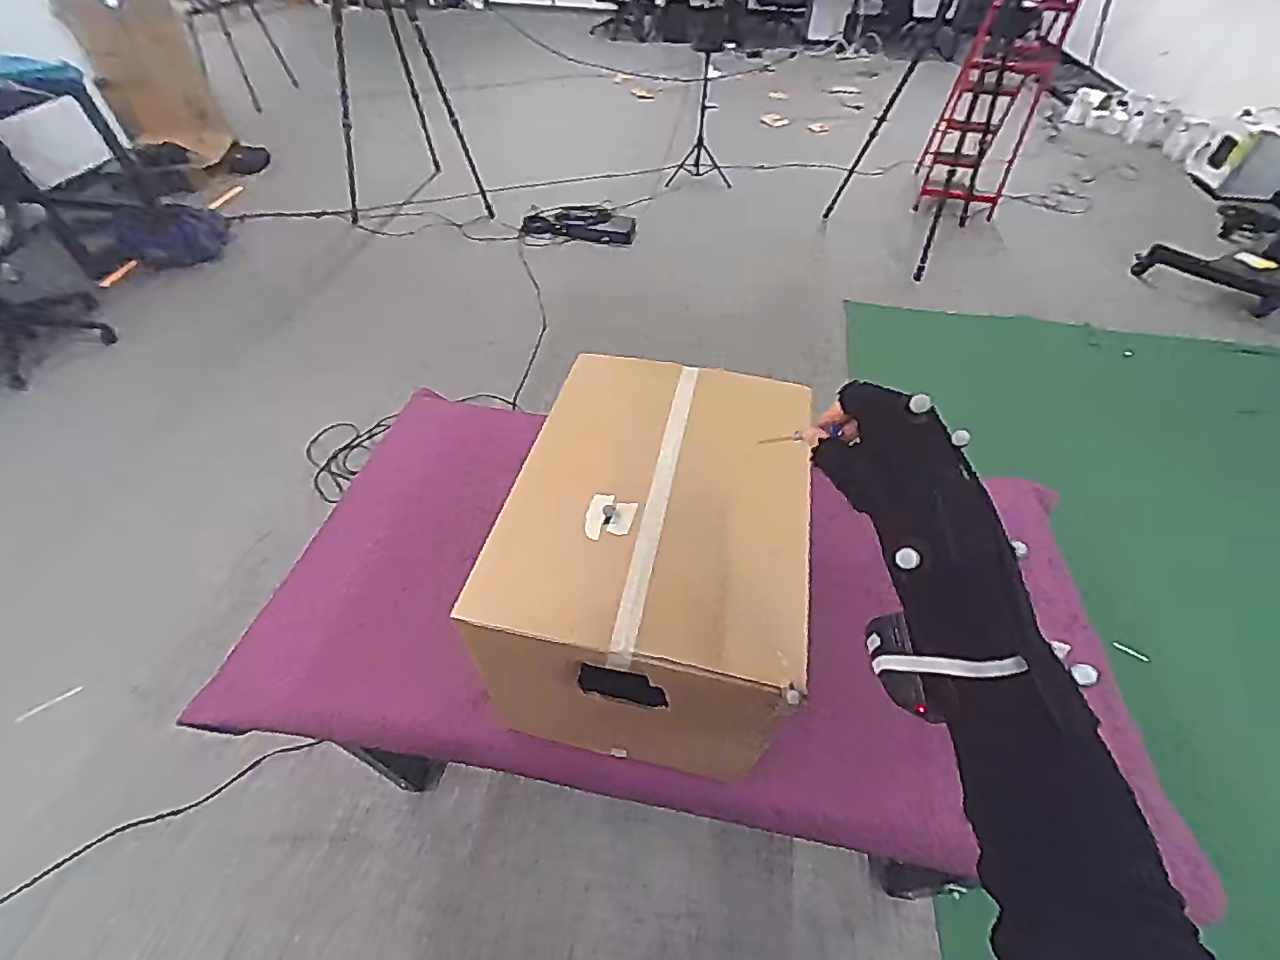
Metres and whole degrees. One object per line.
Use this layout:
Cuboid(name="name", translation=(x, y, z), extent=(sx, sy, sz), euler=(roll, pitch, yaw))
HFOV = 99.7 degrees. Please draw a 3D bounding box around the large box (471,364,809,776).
Cuboid(name="large box", translation=(0.025, 0.110, 0.717), extent=(0.320, 0.320, 0.408), euler=(10, 50, 7))
